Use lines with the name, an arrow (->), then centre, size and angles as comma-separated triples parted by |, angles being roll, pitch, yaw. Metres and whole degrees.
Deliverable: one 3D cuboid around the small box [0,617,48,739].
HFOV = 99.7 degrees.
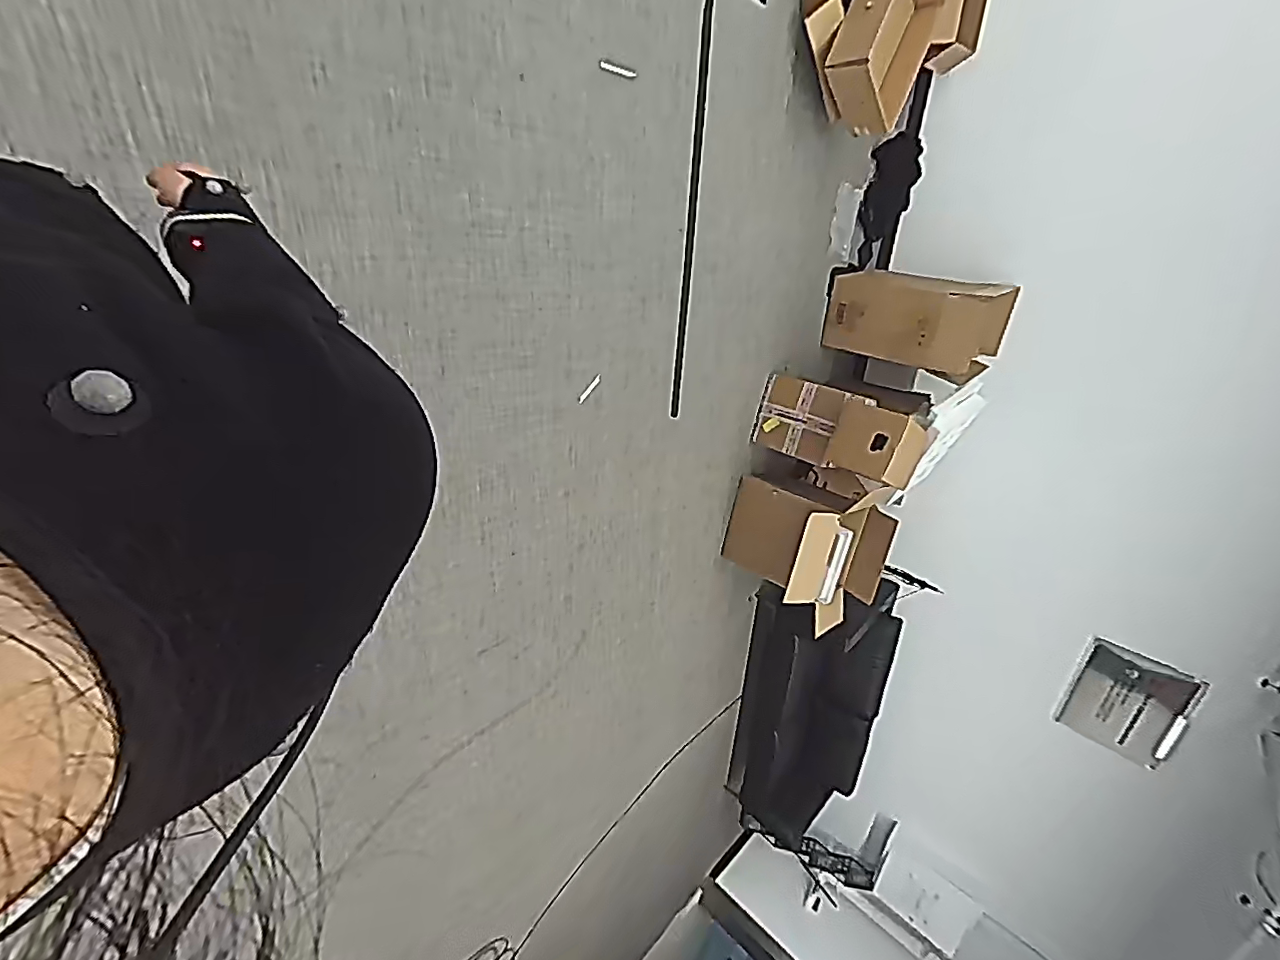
small box -> -1.290, 0.398, 1.039 | 0.168, 0.176, 0.179 | -22, 126, -41
